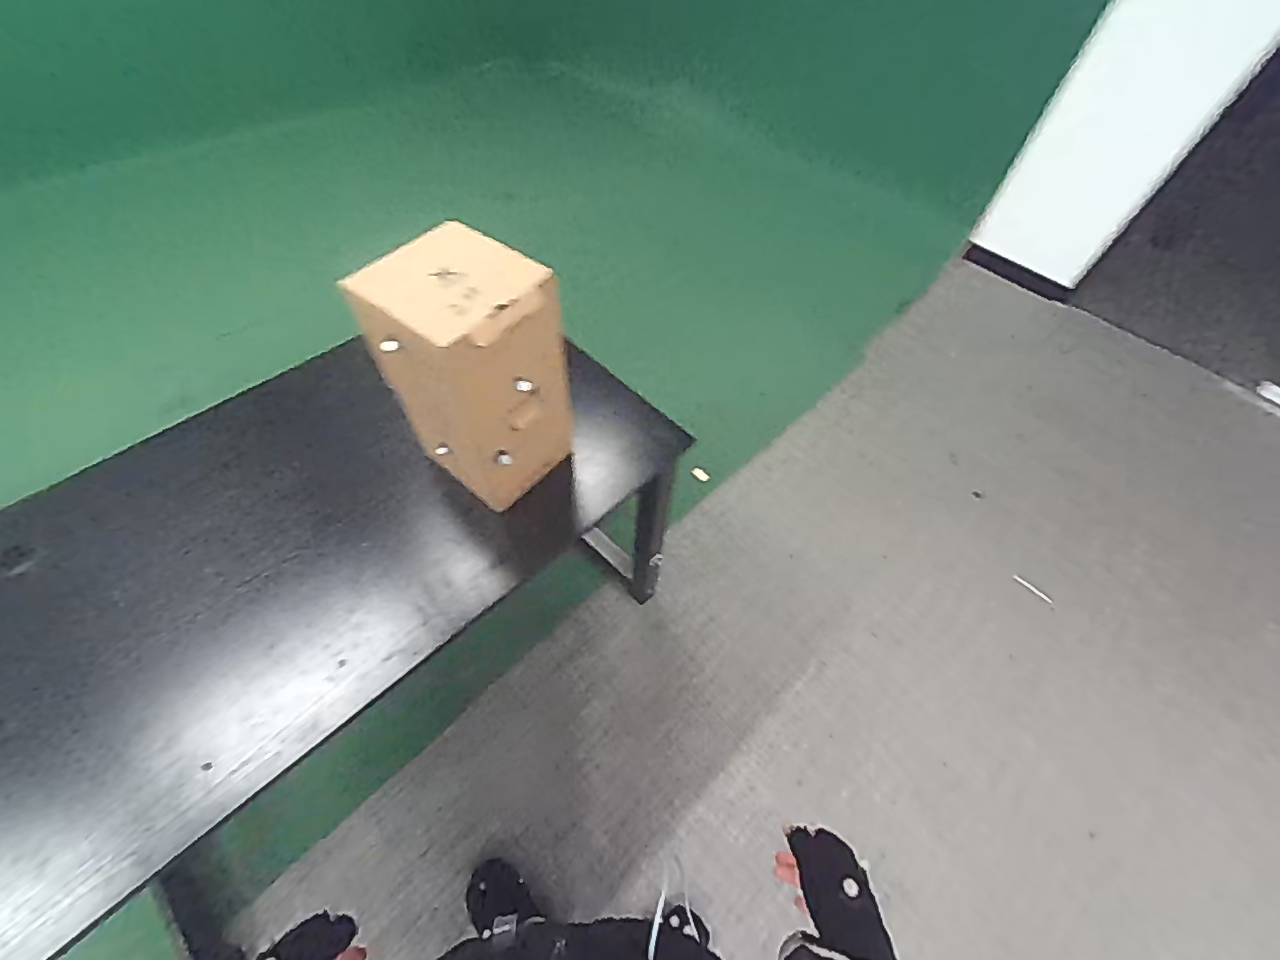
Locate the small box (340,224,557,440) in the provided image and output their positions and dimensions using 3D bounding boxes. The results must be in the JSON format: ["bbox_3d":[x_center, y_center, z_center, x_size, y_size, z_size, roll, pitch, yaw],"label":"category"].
[{"bbox_3d":[-0.225,-0.181,0.679,0.179,0.176,0.168,33,61,18],"label":"small box"}]
